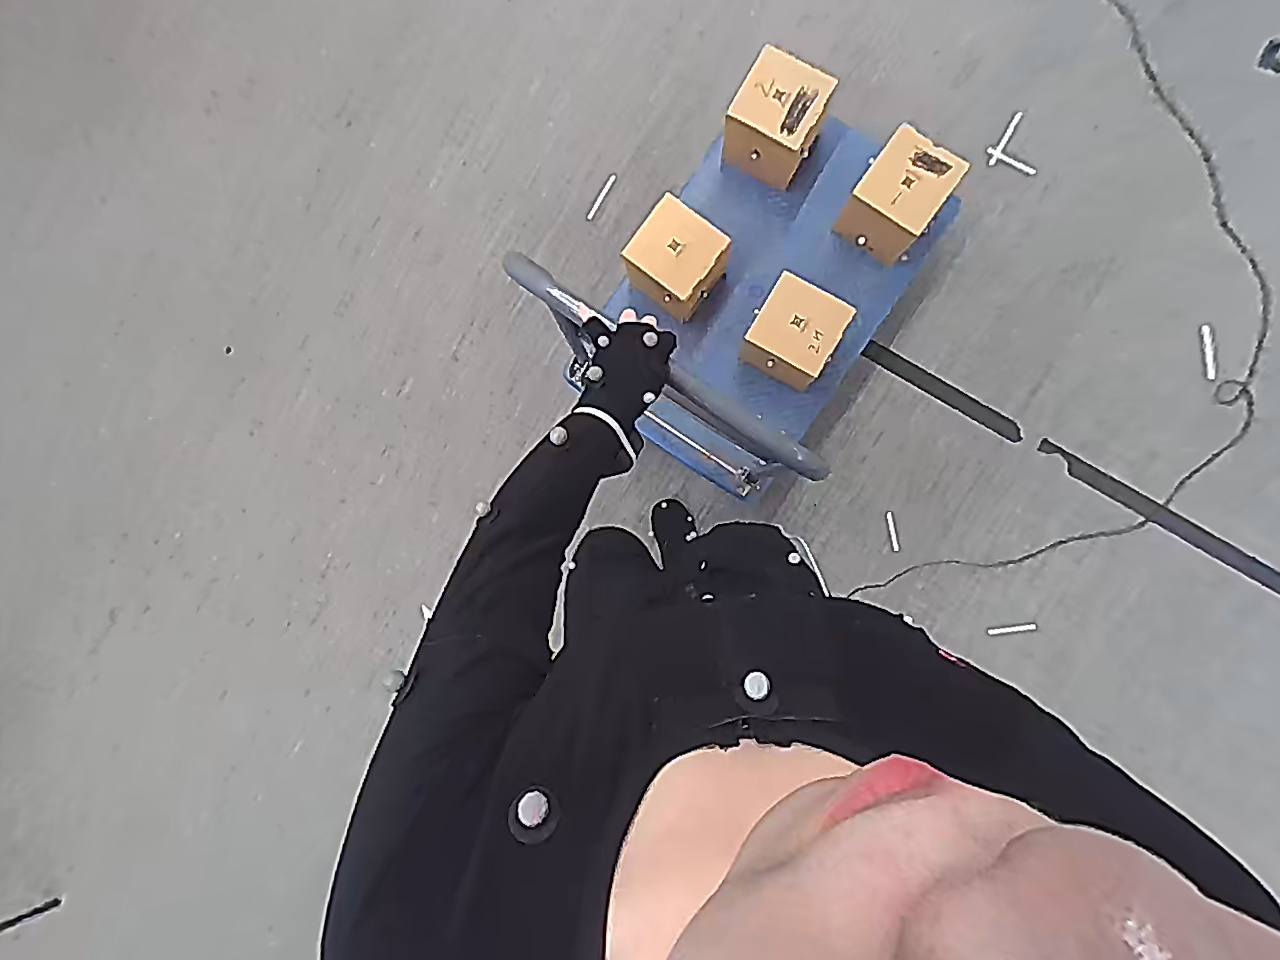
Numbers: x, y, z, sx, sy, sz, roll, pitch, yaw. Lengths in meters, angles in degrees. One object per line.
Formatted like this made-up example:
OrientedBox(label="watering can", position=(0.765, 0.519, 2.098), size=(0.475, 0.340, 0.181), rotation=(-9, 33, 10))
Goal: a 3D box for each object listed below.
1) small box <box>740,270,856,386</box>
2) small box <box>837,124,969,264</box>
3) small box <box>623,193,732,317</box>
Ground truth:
OrientedBox(label="small box", position=(0.340, -0.327, 1.206), size=(0.179, 0.176, 0.168), rotation=(31, 93, 4))
OrientedBox(label="small box", position=(0.561, -0.616, 1.185), size=(0.168, 0.176, 0.179), rotation=(36, 94, 4))
OrientedBox(label="small box", position=(0.083, -0.497, 1.227), size=(0.179, 0.176, 0.168), rotation=(38, 93, 2))
